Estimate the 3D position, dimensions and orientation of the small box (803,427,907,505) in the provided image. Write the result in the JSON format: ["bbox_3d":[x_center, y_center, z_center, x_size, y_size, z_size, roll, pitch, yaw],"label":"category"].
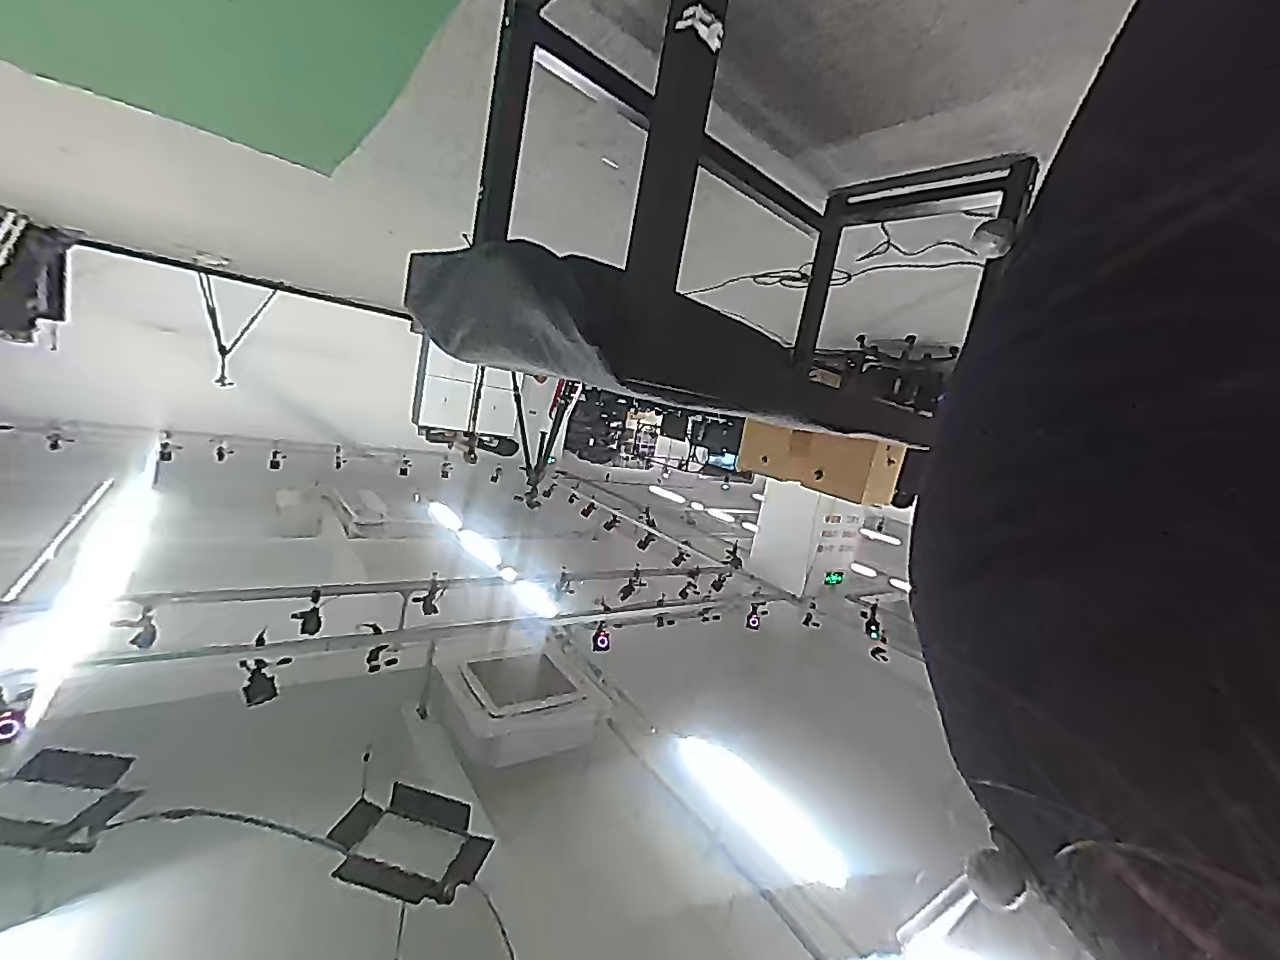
[{"bbox_3d":[0.558,-0.040,1.406,0.168,0.176,0.179,3,-168,-41],"label":"small box"}]

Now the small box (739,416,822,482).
[{"bbox_3d":[0.420,-0.093,1.590,0.168,0.176,0.179,4,-169,-40],"label":"small box"}]
